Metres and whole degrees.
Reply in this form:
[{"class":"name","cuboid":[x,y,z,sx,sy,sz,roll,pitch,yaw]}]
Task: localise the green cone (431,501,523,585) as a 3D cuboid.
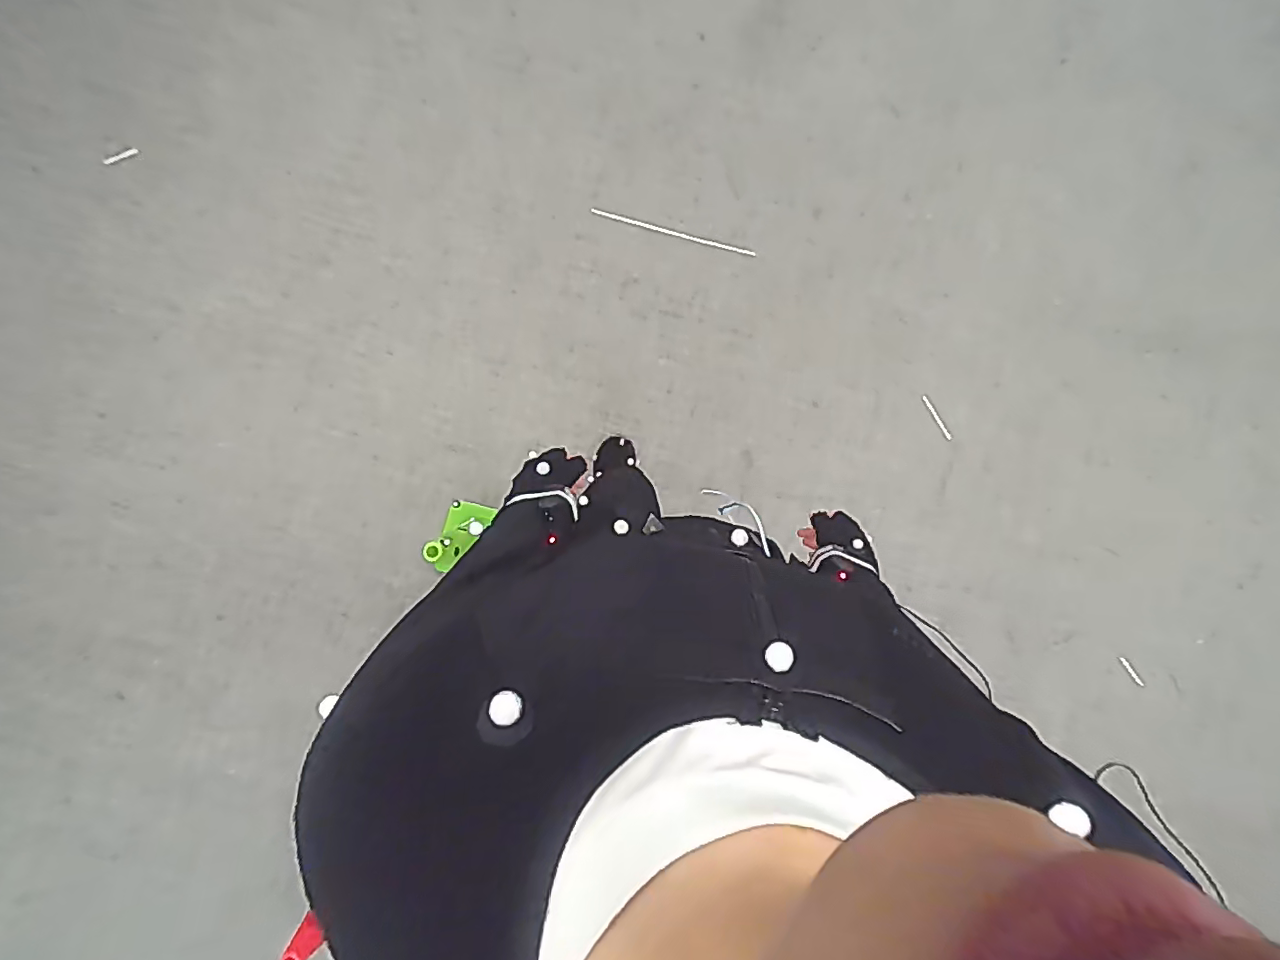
[{"class":"green cone","cuboid":[-0.427,0.164,1.299,0.202,0.368,0.200,14,87,-2]}]
